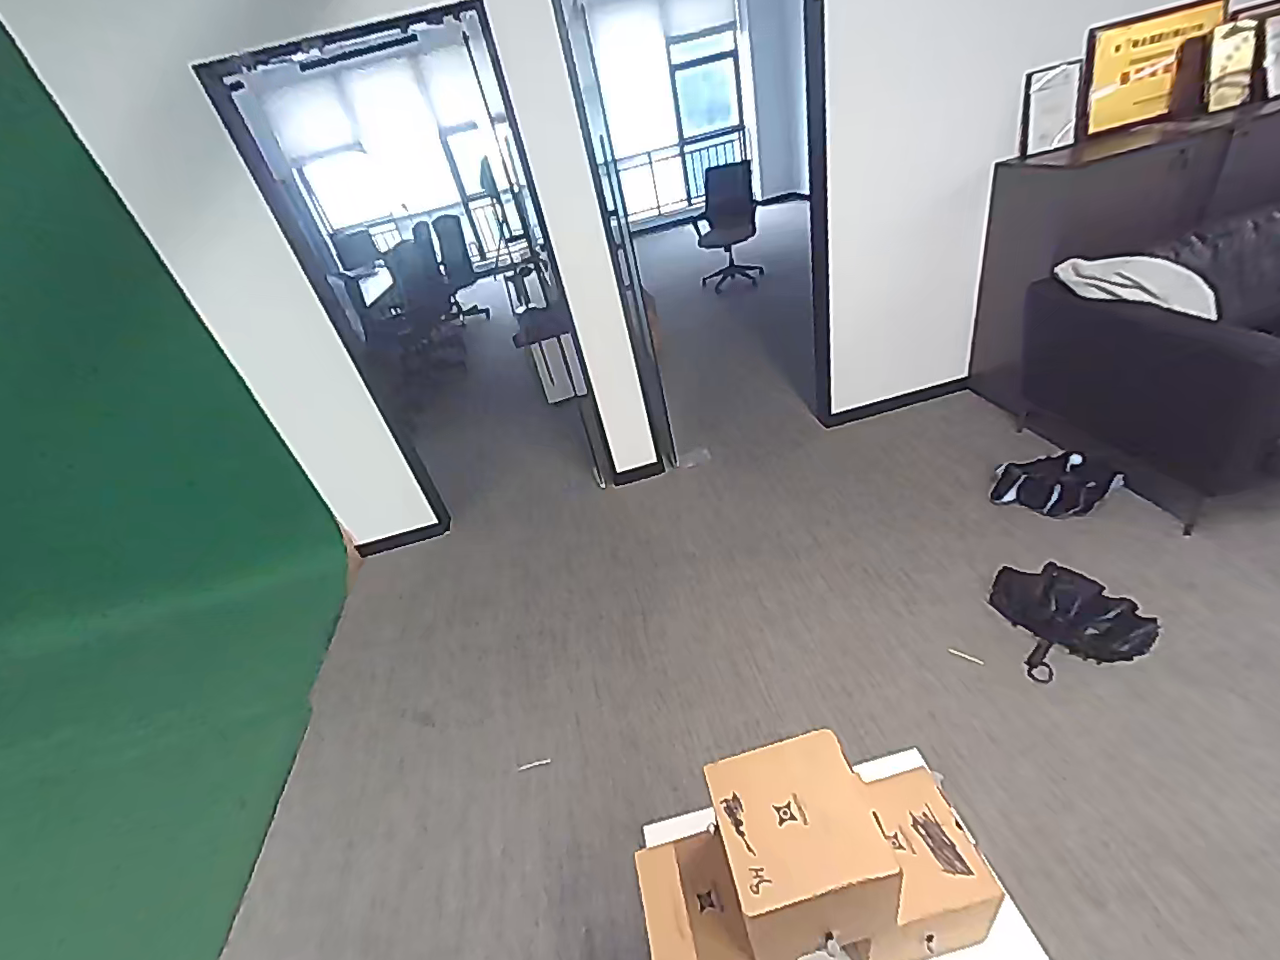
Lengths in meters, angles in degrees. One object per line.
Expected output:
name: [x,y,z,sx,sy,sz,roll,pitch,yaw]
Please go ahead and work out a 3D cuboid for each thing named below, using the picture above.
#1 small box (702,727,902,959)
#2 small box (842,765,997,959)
small box: [0.185,0.440,0.660,0.179,0.176,0.168,-14,33,-3]
small box: [0.349,0.540,0.756,0.179,0.176,0.168,-15,33,-2]
